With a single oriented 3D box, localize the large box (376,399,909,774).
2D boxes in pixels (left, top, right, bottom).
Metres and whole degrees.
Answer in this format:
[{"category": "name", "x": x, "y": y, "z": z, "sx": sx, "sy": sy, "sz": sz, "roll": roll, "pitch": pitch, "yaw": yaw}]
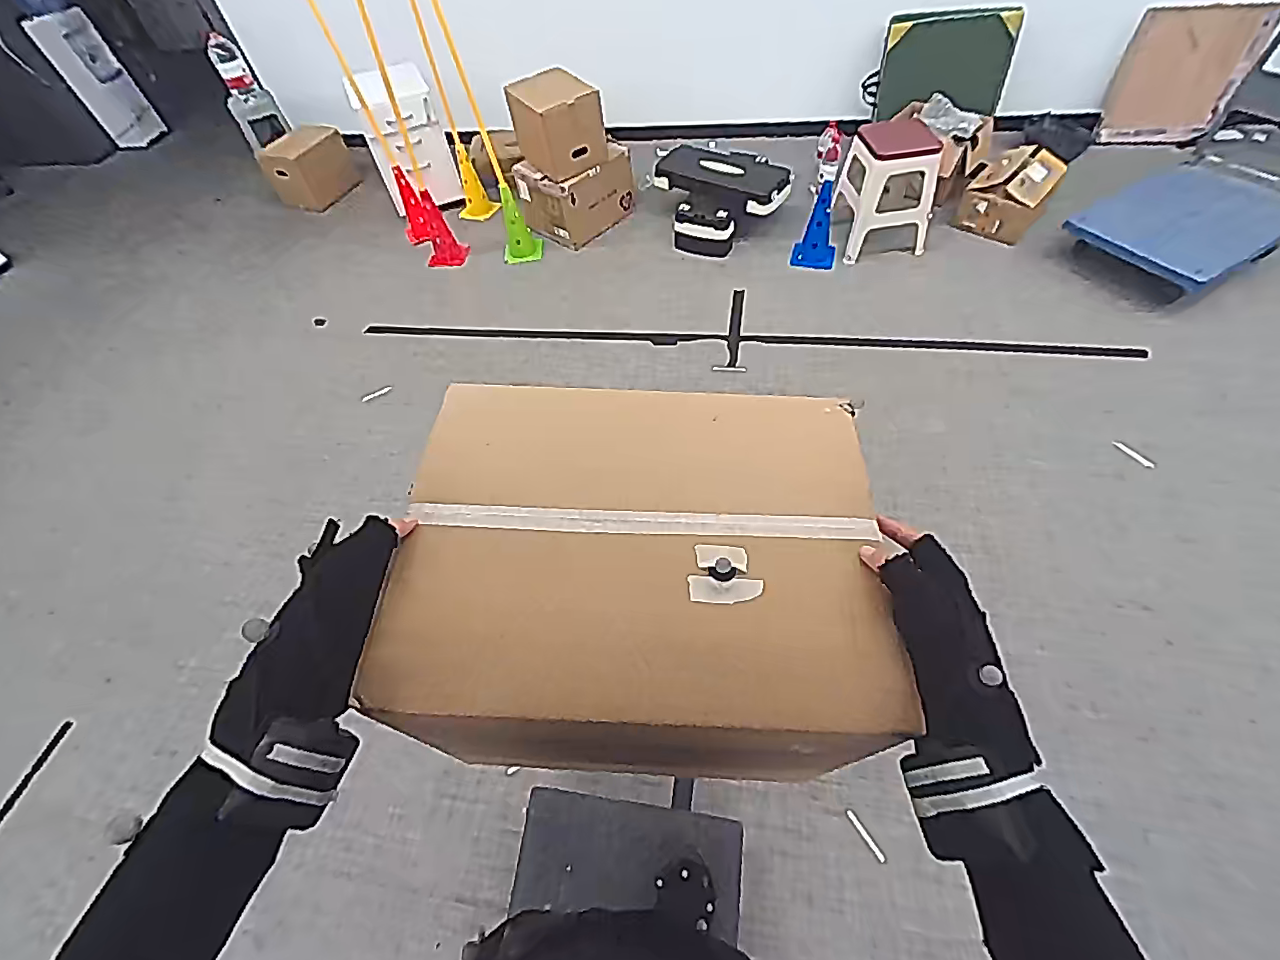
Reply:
[{"category": "large box", "x": 0.002, "y": 0.131, "z": 0.602, "sx": 0.408, "sy": 0.320, "sz": 0.320, "roll": 3, "pitch": 56, "yaw": 1}]
